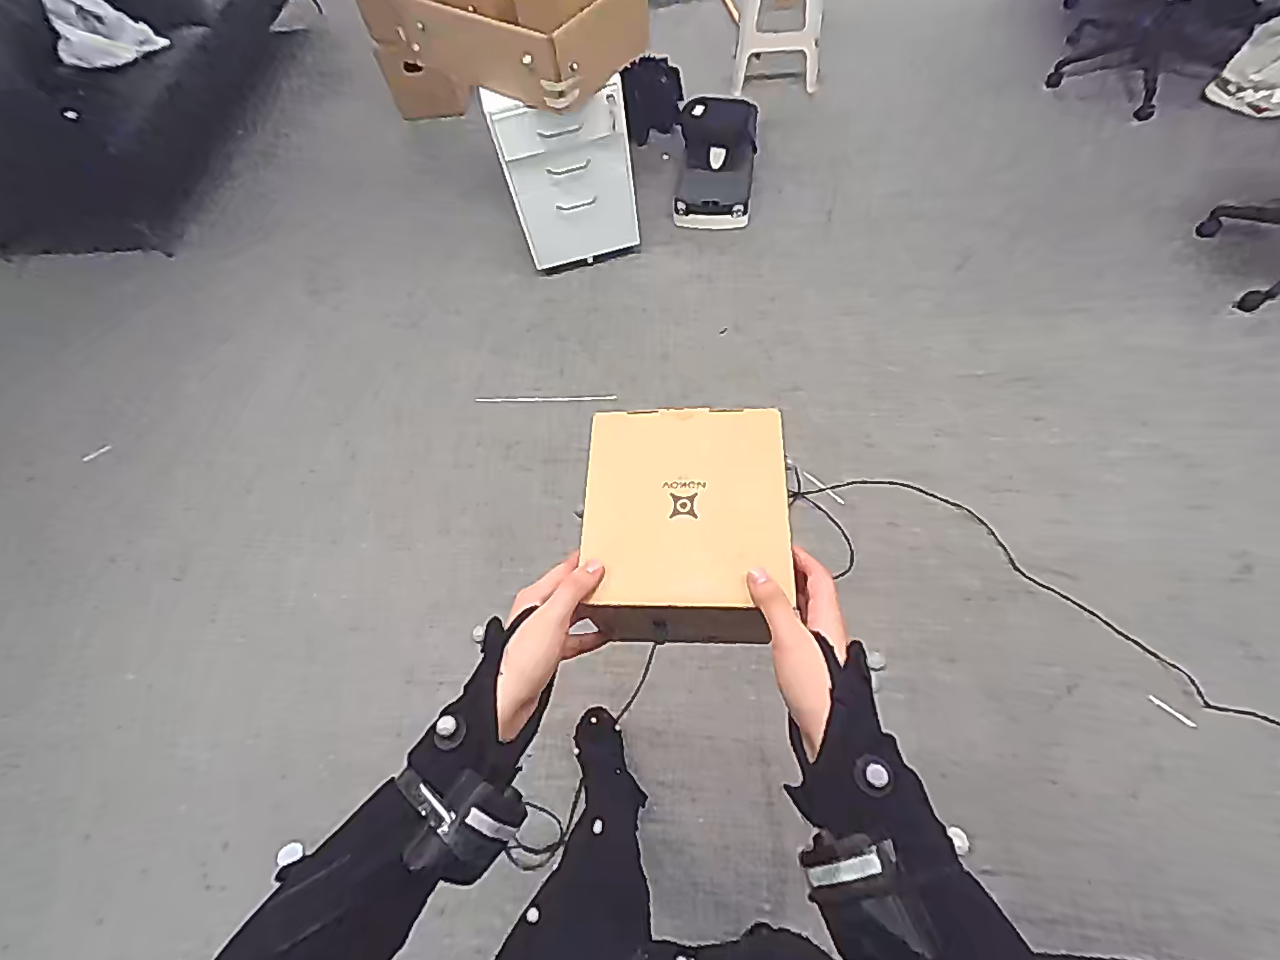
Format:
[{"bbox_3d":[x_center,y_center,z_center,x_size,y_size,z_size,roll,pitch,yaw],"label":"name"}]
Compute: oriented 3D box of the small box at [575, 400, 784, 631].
[{"bbox_3d":[0.042,0.043,0.522,0.168,0.176,0.179,-1,62,6],"label":"small box"}]
